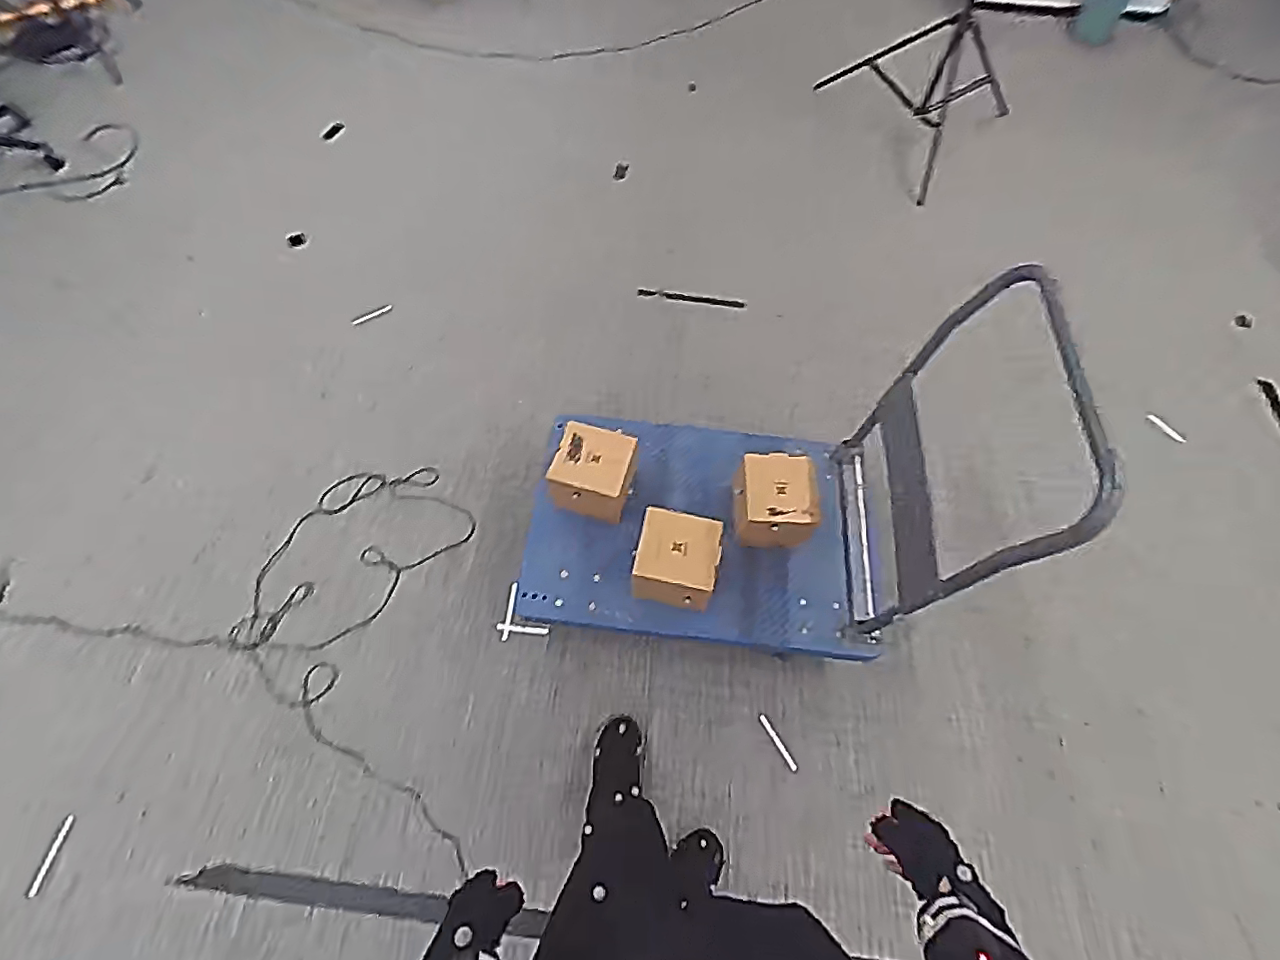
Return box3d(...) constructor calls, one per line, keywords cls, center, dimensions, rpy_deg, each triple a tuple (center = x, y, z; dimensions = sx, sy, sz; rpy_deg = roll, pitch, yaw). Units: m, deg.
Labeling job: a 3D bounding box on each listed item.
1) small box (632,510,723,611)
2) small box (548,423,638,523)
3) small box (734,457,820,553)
box3d(cls="small box", center=(0.082, 0.192, 1.249), dimensions=(0.179, 0.176, 0.168), rpy_deg=(11, 61, 5))
box3d(cls="small box", center=(-0.112, -0.011, 1.344), dimensions=(0.179, 0.176, 0.168), rpy_deg=(16, 63, 5))
box3d(cls="small box", center=(0.326, 0.064, 1.324), dimensions=(0.168, 0.176, 0.179), rpy_deg=(3, 62, 0))
